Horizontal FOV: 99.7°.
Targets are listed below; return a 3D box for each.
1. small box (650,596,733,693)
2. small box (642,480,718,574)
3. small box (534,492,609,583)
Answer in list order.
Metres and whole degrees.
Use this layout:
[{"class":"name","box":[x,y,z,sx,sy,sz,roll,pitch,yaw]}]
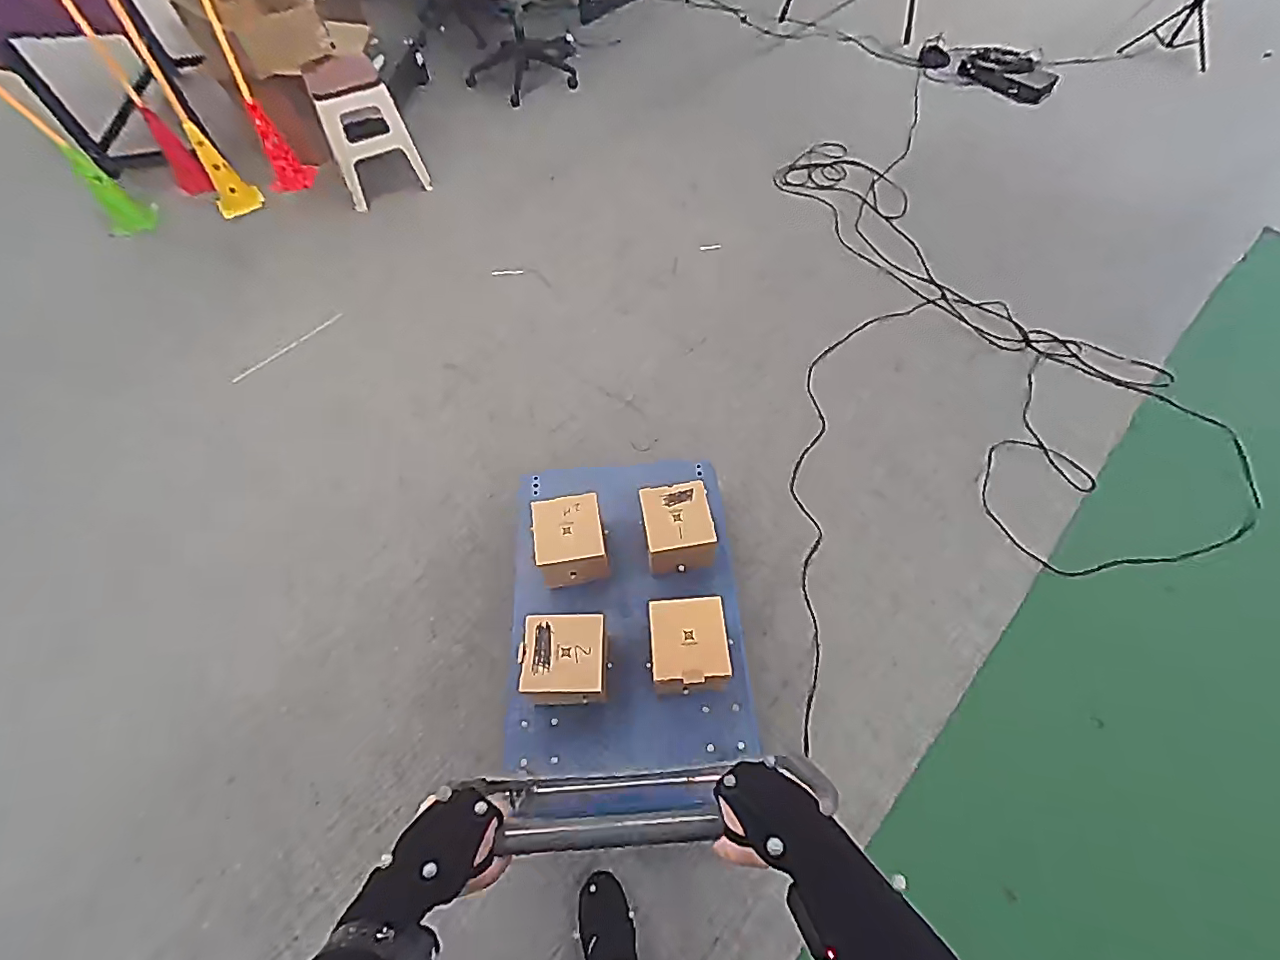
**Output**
[{"class":"small box","box":[0.110,0.381,1.245,0.168,0.176,0.179,-4,60,-1]},{"class":"small box","box":[0.096,0.125,1.394,0.168,0.176,0.179,-9,61,-3]},{"class":"small box","box":[-0.173,0.154,1.384,0.168,0.176,0.179,-8,60,-4]}]
